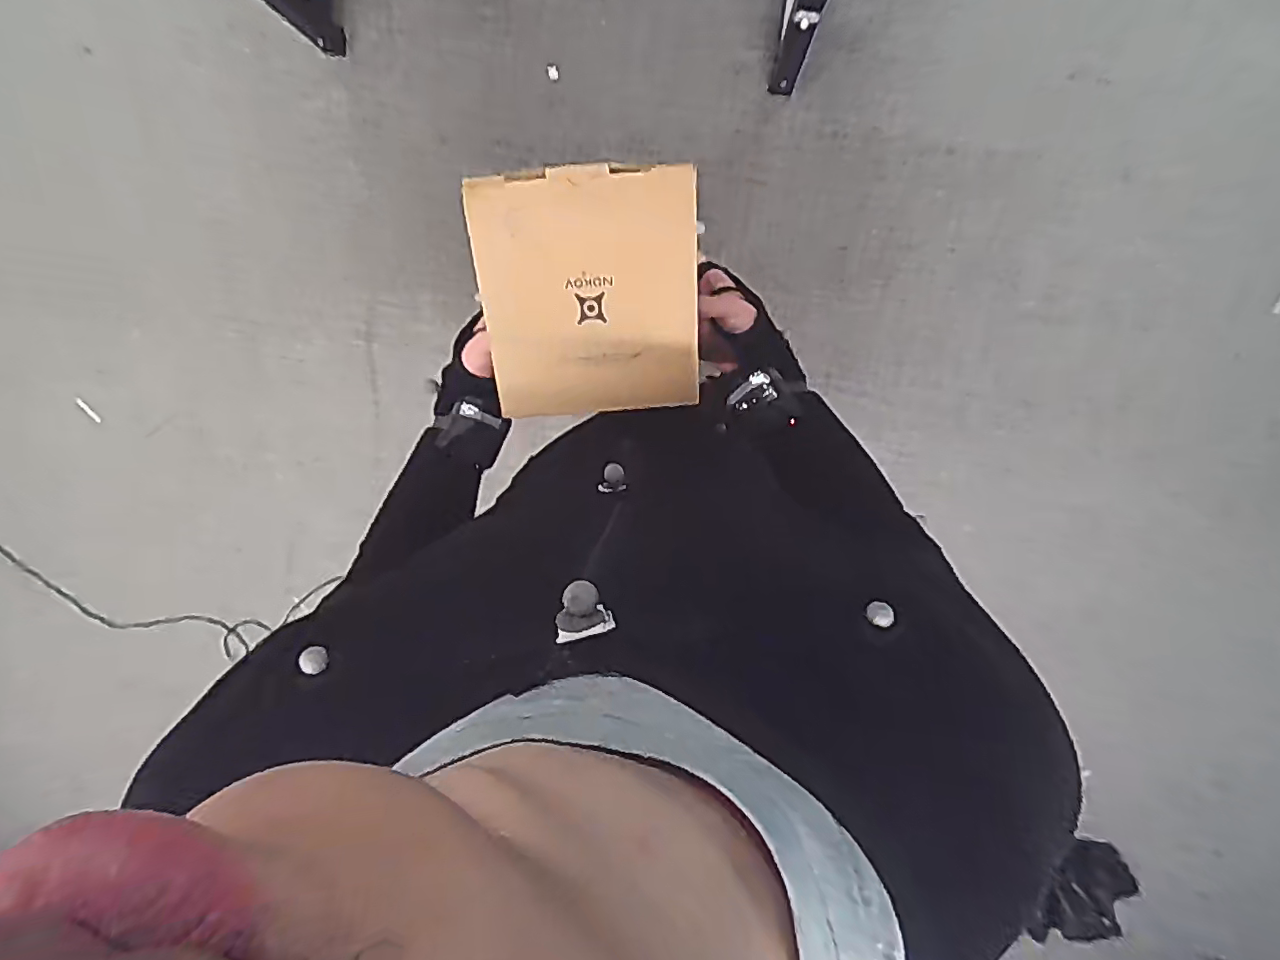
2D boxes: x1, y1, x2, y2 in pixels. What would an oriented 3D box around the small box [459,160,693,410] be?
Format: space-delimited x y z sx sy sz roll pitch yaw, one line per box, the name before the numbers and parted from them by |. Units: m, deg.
small box | -0.044 -0.175 0.481 0.168 0.176 0.179 -3 118 1
